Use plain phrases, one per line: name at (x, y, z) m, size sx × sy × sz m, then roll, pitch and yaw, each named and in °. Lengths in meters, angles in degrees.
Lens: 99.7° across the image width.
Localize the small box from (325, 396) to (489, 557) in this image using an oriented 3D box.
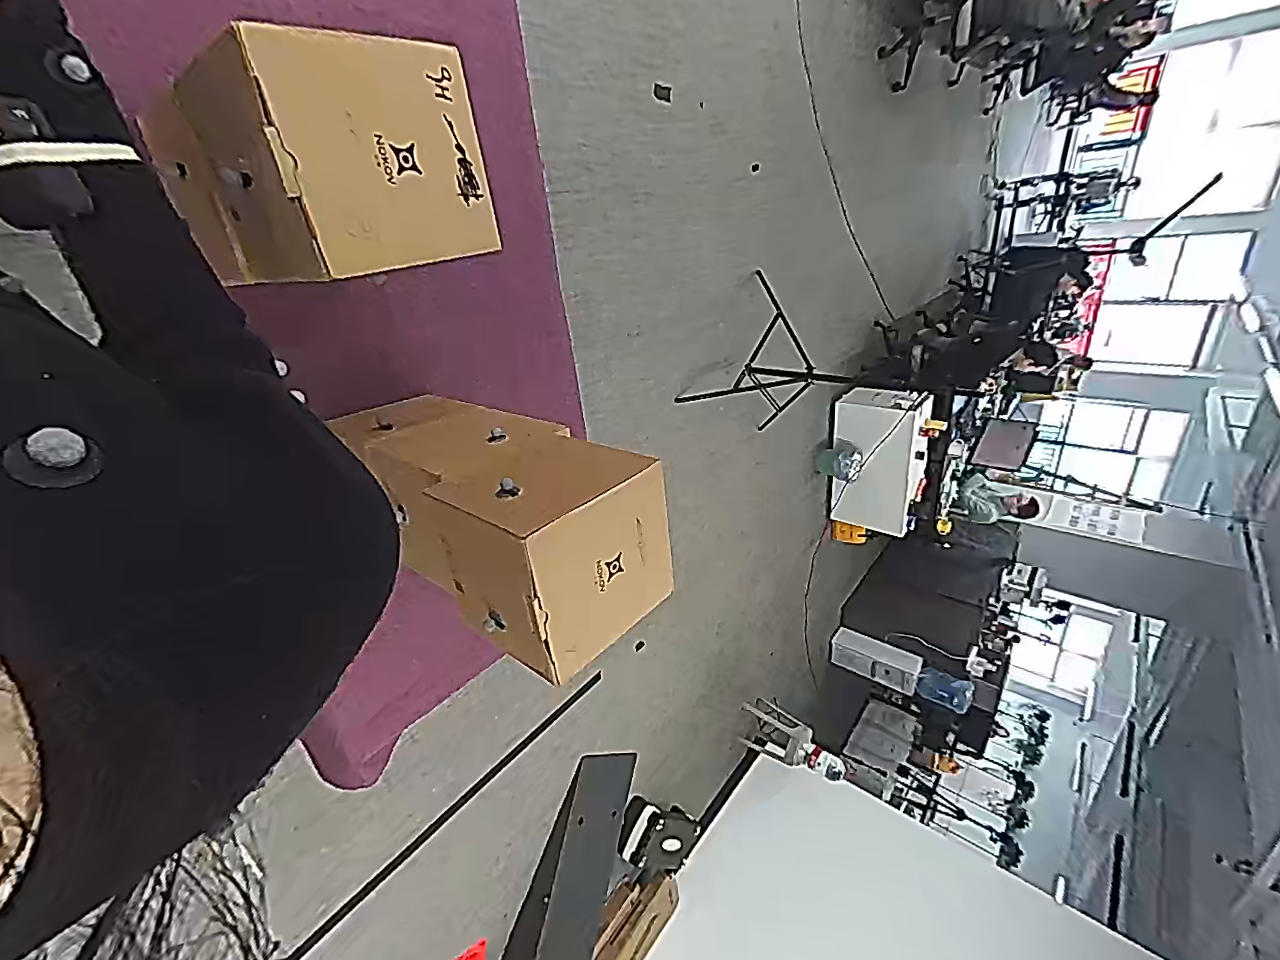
small box at (-0.324, -0.016, 0.778) m, size 0.179 × 0.176 × 0.168 m, roll -29°, pitch 124°, yaw -43°

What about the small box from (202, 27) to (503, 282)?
small box at (-0.263, -0.283, 0.499) m, size 0.179 × 0.176 × 0.168 m, roll -34°, pitch 127°, yaw -40°

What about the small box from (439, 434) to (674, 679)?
small box at (-0.087, 0.064, 0.568) m, size 0.179 × 0.176 × 0.168 m, roll -33°, pitch 127°, yaw -41°

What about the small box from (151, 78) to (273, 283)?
small box at (-0.392, -0.313, 0.595) m, size 0.179 × 0.176 × 0.168 m, roll -31°, pitch 125°, yaw -43°

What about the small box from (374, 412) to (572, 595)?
small box at (-0.196, 0.019, 0.681) m, size 0.179 × 0.176 × 0.168 m, roll -29°, pitch 123°, yaw -42°
